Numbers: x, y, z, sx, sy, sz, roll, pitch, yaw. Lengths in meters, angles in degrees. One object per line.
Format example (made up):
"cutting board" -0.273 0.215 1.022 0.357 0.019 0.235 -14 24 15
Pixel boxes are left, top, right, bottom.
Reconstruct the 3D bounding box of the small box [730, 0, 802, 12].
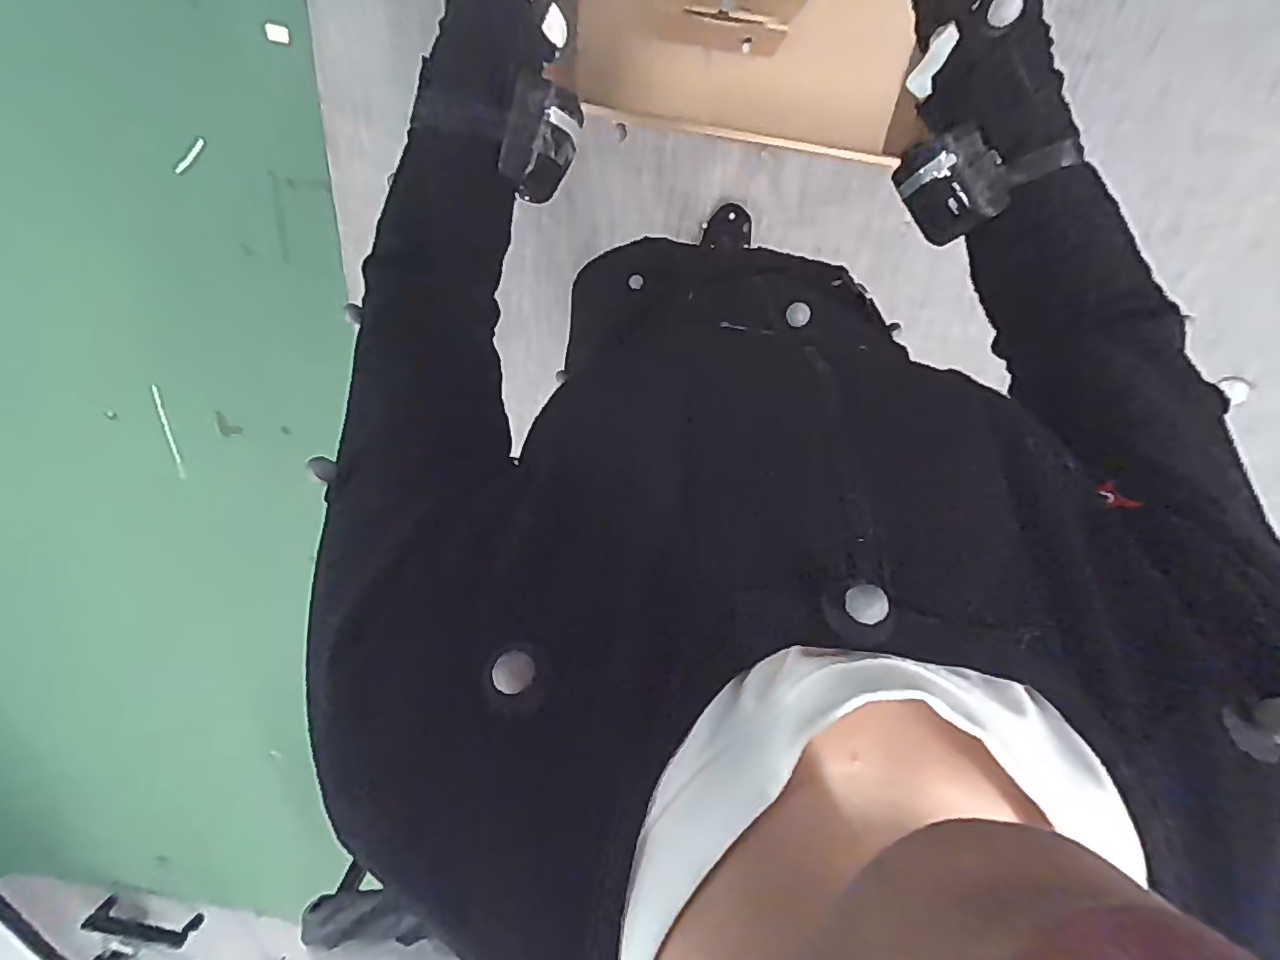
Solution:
"small box" 0.106 -0.573 0.504 0.168 0.176 0.179 9 121 -1

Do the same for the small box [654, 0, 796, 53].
"small box" 0.115 -0.646 0.650 0.168 0.176 0.179 9 118 -1
